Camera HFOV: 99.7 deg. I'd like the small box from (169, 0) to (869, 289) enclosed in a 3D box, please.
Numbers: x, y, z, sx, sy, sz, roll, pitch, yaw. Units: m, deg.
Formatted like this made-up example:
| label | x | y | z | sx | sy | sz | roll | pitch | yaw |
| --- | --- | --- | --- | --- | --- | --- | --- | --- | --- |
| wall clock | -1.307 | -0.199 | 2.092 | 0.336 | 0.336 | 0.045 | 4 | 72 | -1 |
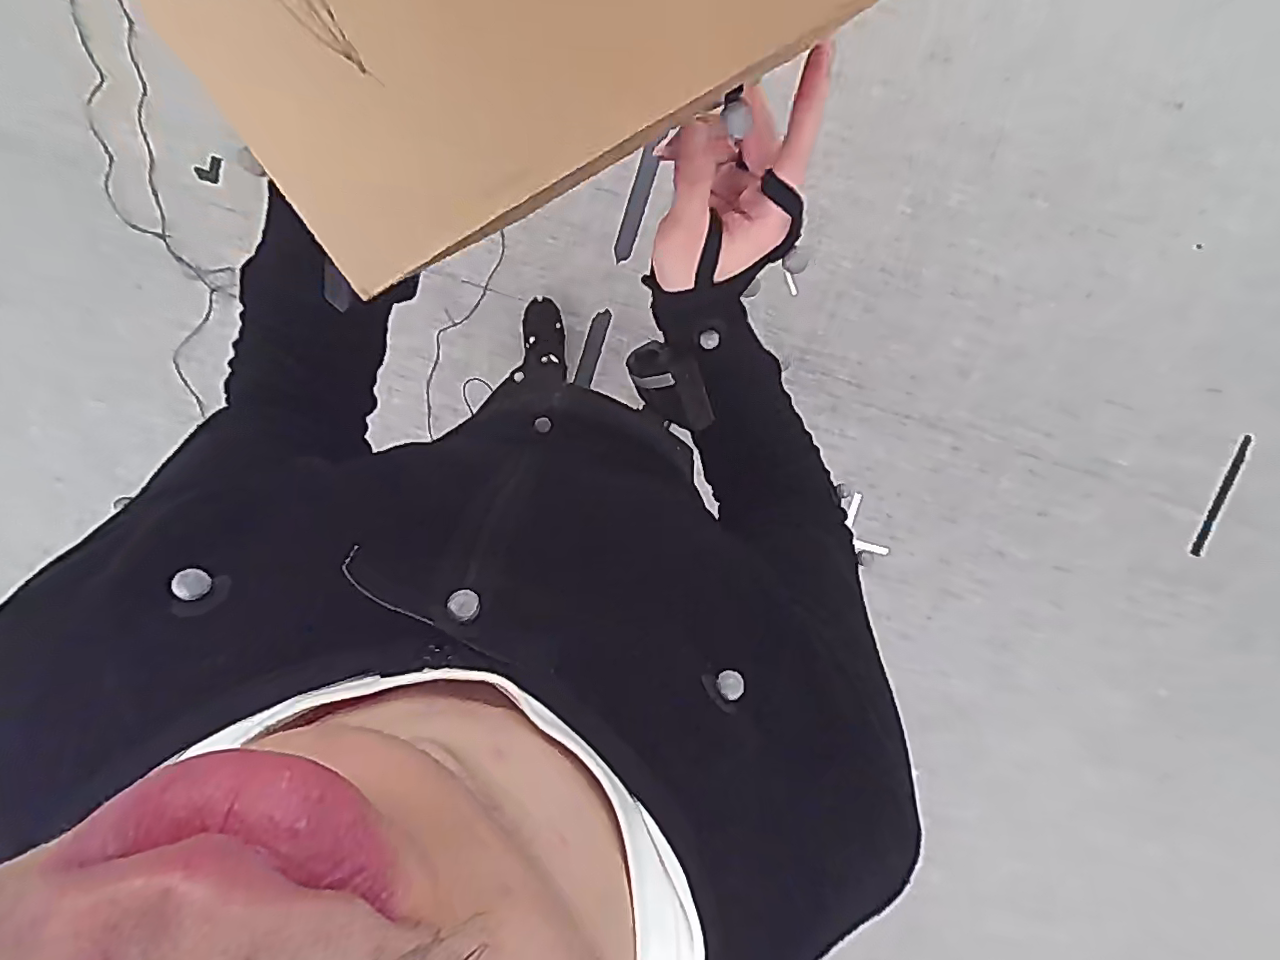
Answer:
| label | x | y | z | sx | sy | sz | roll | pitch | yaw |
| --- | --- | --- | --- | --- | --- | --- | --- | --- | --- |
| small box | -0.042 | -0.200 | 0.193 | 0.179 | 0.176 | 0.168 | -20 | 118 | 21 |
